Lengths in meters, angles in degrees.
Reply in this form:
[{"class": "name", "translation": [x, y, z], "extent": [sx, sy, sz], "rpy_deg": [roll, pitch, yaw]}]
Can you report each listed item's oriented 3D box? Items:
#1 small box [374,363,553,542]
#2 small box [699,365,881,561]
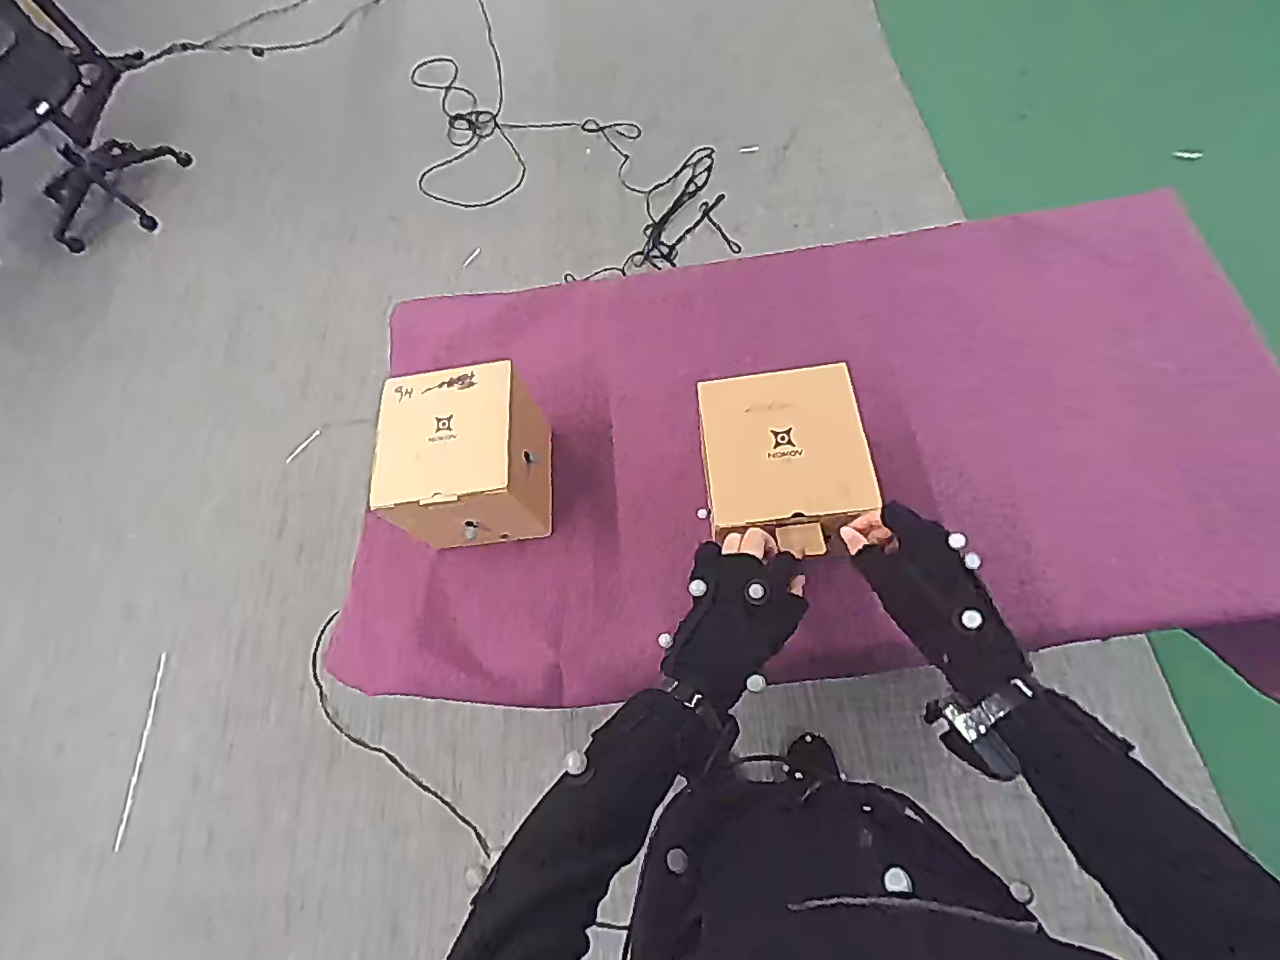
[{"class": "small box", "translation": [-0.215, -0.024, 0.705], "extent": [0.168, 0.176, 0.179], "rpy_deg": [-7, 67, 6]}, {"class": "small box", "translation": [0.163, -0.008, 0.638], "extent": [0.168, 0.176, 0.179], "rpy_deg": [-6, 66, 6]}]
